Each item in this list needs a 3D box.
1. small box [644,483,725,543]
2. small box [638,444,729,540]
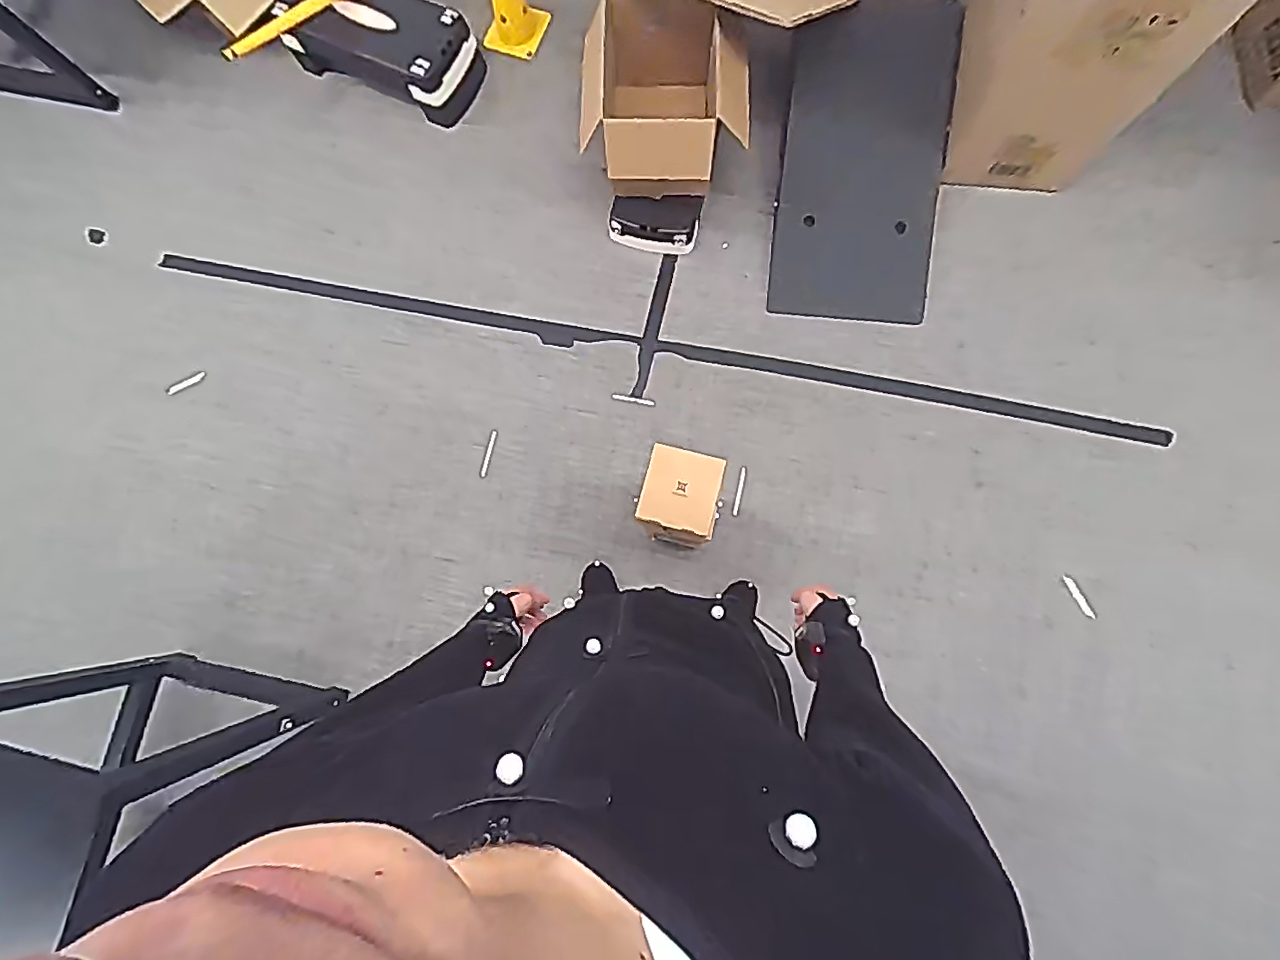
[{"bbox_3d":[0.114,0.069,1.413,0.179,0.176,0.168,13,82,4],"label":"small box"},{"bbox_3d":[0.097,0.035,1.255,0.168,0.176,0.179,14,83,5],"label":"small box"}]
